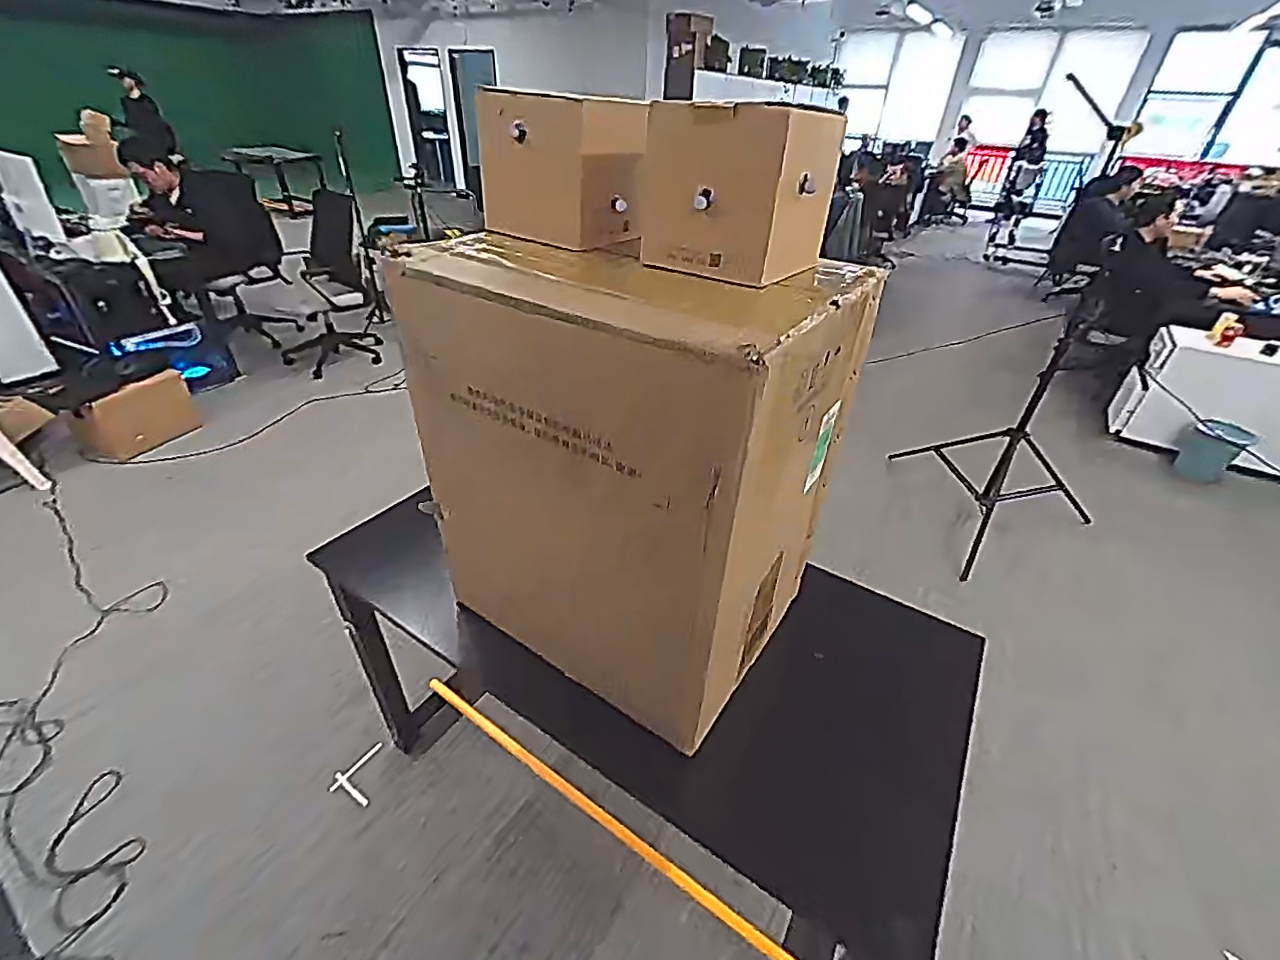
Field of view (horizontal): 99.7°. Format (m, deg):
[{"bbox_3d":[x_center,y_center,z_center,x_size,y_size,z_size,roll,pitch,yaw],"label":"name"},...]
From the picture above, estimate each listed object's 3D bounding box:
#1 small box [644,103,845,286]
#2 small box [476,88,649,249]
[{"bbox_3d":[0.118,-0.338,0.638,0.168,0.176,0.179,23,39,27],"label":"small box"},{"bbox_3d":[-0.100,-0.426,0.745,0.179,0.176,0.168,24,39,24],"label":"small box"}]
